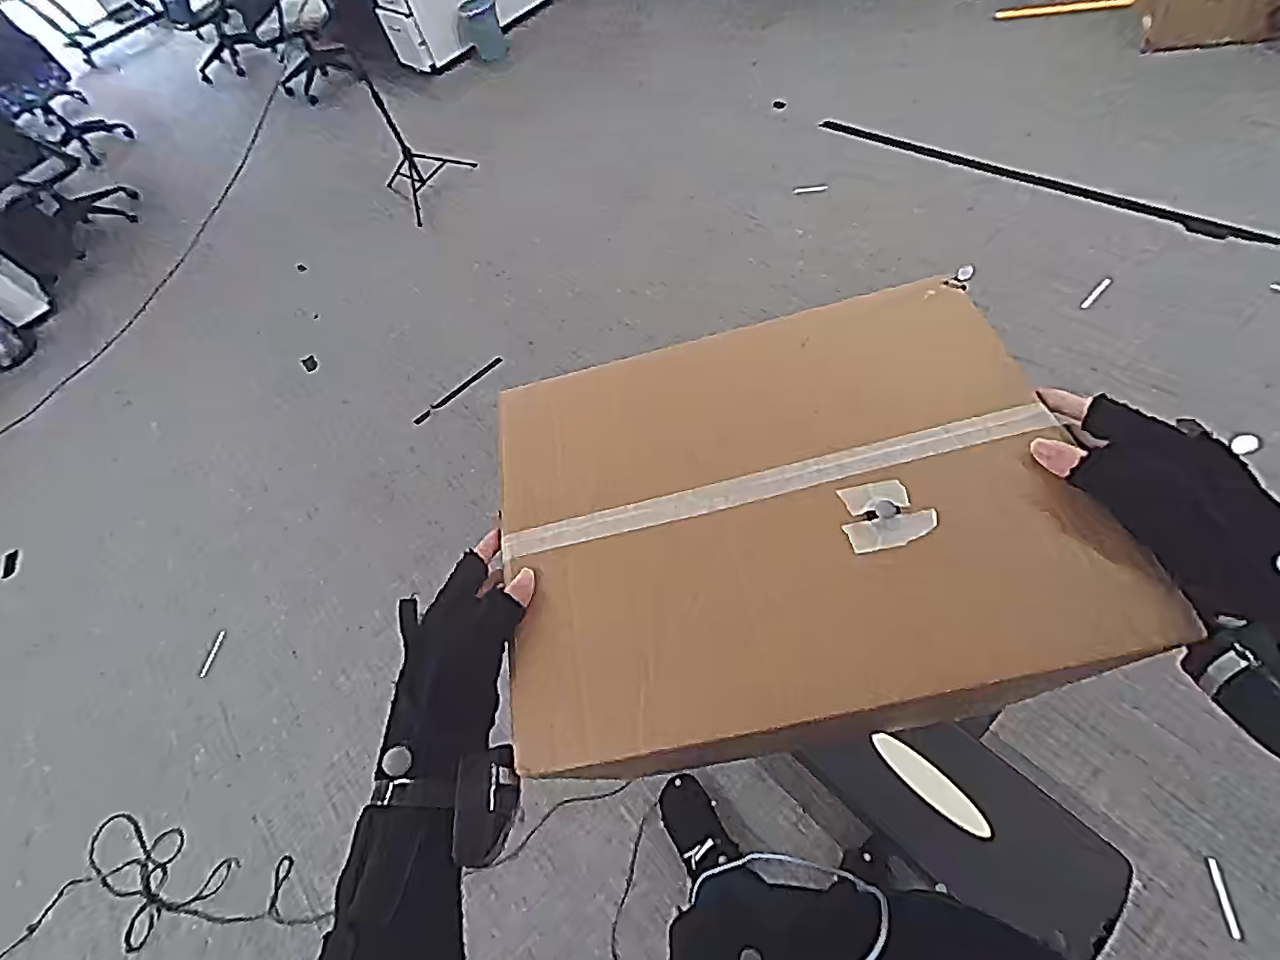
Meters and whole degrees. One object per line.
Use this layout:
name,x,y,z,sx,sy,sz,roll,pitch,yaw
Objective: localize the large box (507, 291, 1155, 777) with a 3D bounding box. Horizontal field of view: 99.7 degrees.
large box,0.120,0.081,0.539,0.408,0.320,0.320,-14,60,4
